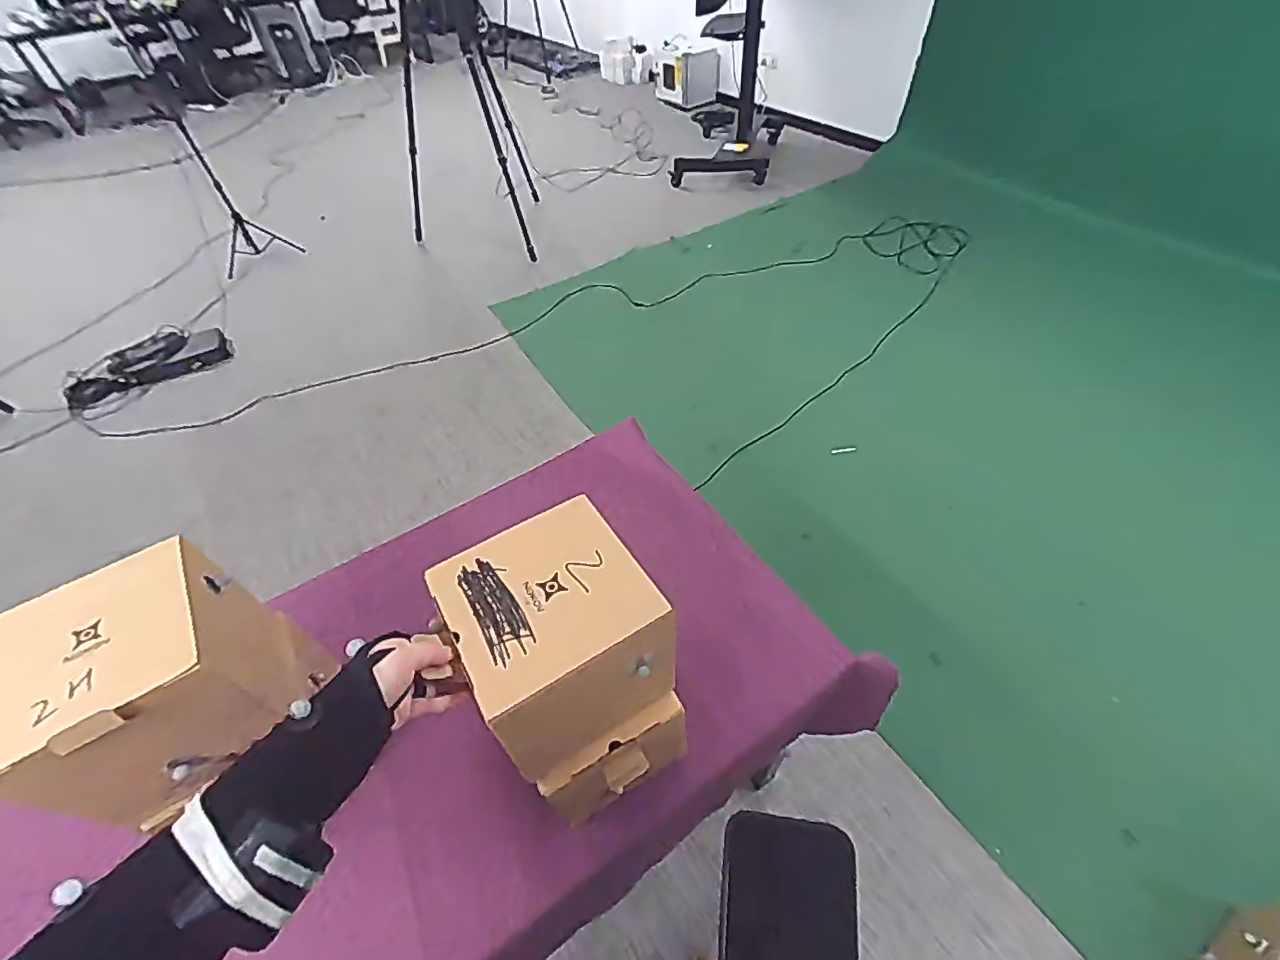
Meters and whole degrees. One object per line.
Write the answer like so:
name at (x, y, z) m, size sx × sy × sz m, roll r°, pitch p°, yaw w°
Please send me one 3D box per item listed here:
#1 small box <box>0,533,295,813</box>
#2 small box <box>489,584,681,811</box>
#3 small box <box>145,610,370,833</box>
small box at (-0.487, 0.193, 0.544) m, size 0.168 × 0.176 × 0.179 m, roll -30°, pitch 54°, yaw -20°
small box at (-0.064, 0.268, 0.666) m, size 0.168 × 0.176 × 0.179 m, roll -25°, pitch 53°, yaw -16°
small box at (-0.464, 0.302, 0.667) m, size 0.168 × 0.176 × 0.179 m, roll -29°, pitch 53°, yaw -20°
